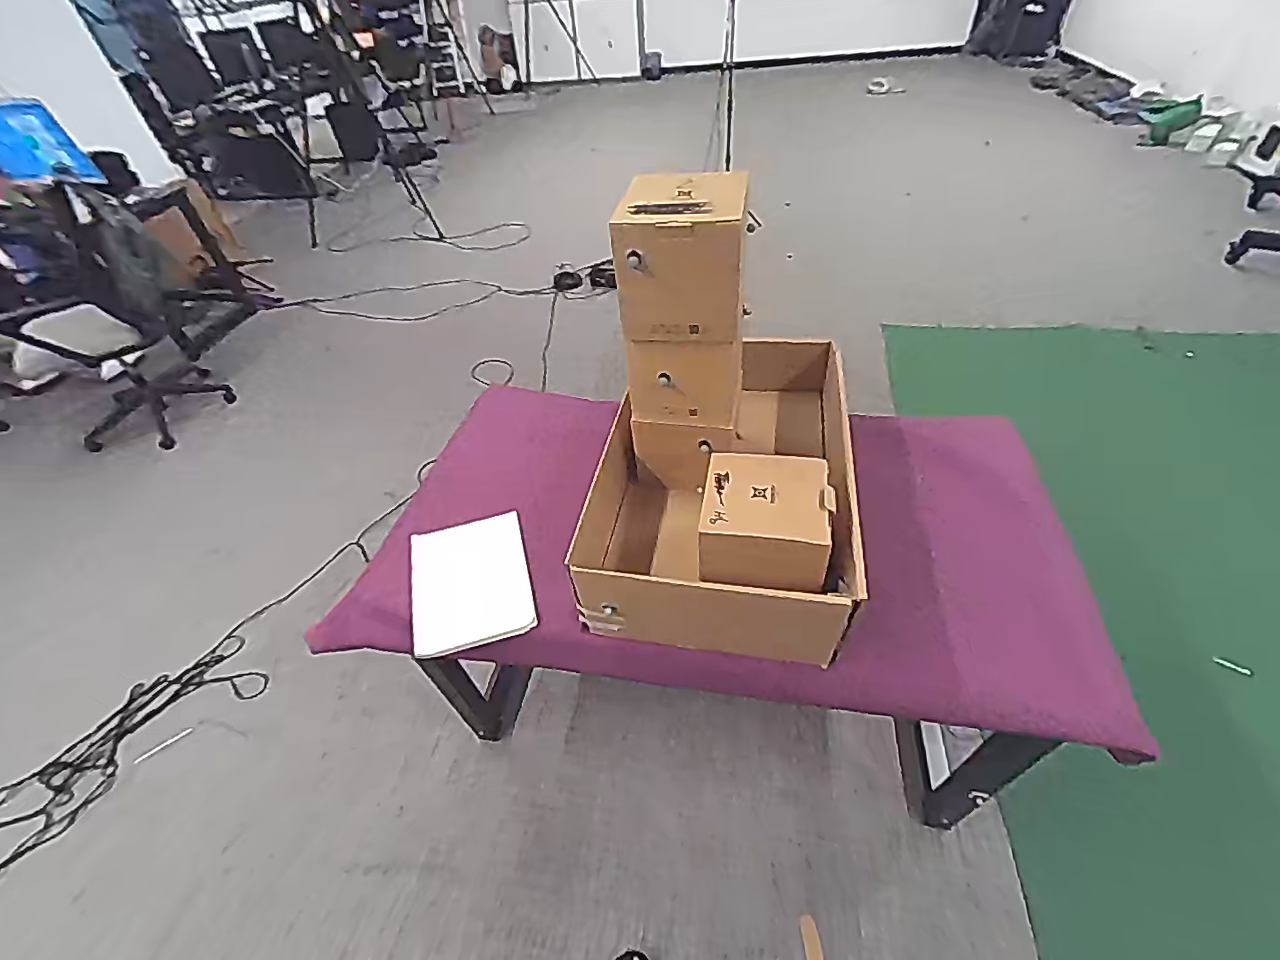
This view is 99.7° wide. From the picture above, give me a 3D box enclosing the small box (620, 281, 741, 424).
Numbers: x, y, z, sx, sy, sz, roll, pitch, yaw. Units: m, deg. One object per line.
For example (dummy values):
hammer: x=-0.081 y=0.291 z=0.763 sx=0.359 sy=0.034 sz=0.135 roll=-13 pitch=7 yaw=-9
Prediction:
small box: x=0.075 y=-0.211 z=0.897 sx=0.168 sy=0.176 sz=0.179 roll=6 pitch=48 yaw=12
